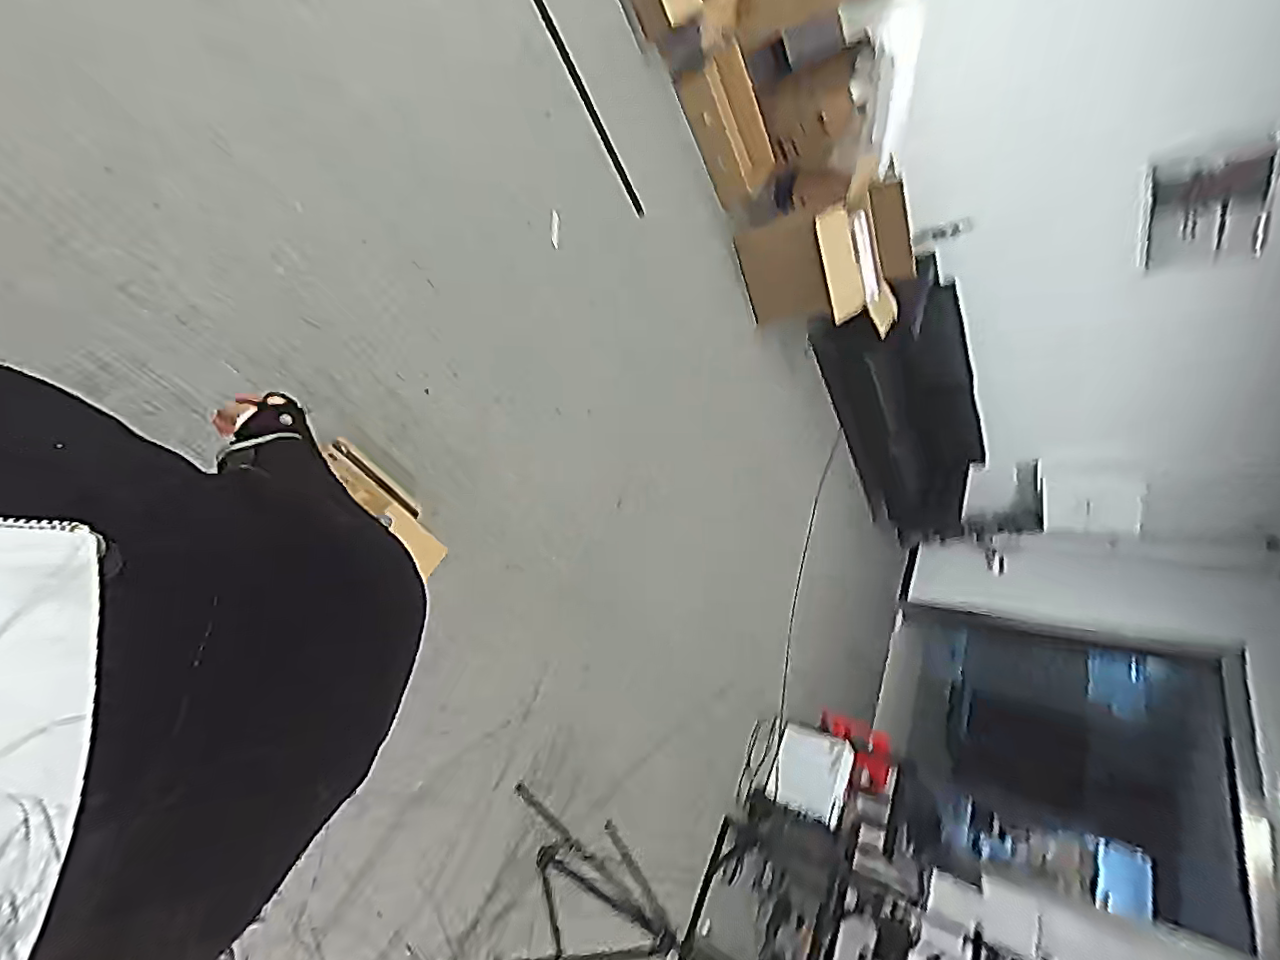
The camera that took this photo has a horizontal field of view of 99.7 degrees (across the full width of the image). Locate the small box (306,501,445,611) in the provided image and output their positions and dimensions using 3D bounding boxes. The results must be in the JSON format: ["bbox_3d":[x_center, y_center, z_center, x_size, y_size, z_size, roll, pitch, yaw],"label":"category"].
[{"bbox_3d":[-0.574,0.157,1.175,0.179,0.176,0.168,56,52,-36],"label":"small box"}]

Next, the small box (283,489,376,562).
[{"bbox_3d":[-0.695,0.132,1.286,0.179,0.176,0.168,54,53,-36],"label":"small box"}]
